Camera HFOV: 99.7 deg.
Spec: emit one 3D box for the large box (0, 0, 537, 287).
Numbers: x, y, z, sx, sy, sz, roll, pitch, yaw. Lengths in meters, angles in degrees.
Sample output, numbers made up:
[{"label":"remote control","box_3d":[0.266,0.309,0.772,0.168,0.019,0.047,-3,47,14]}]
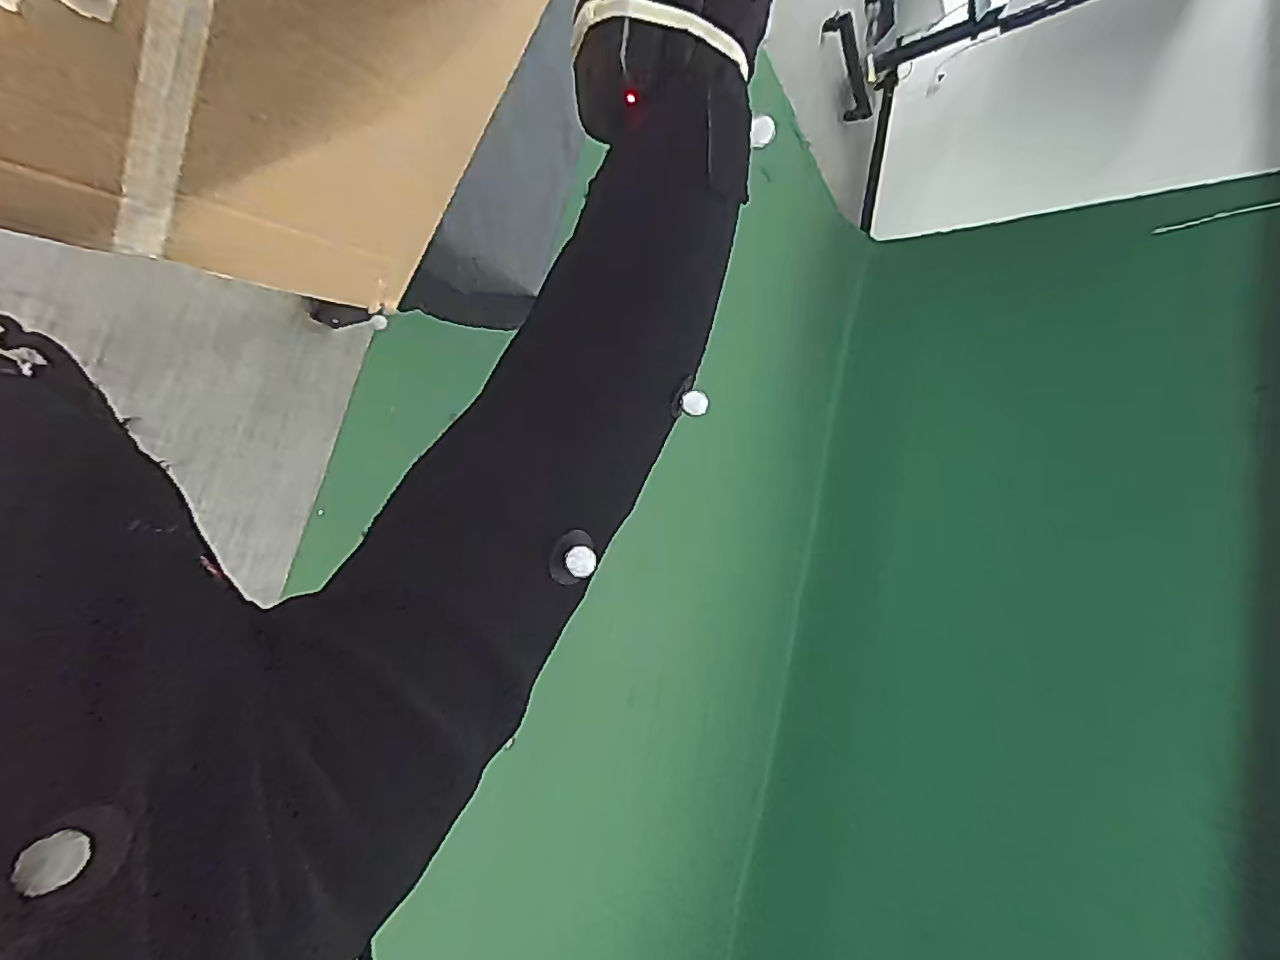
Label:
[{"label":"large box","box_3d":[-0.252,-0.394,0.287,0.320,0.408,0.320,-2,53,-52]}]
